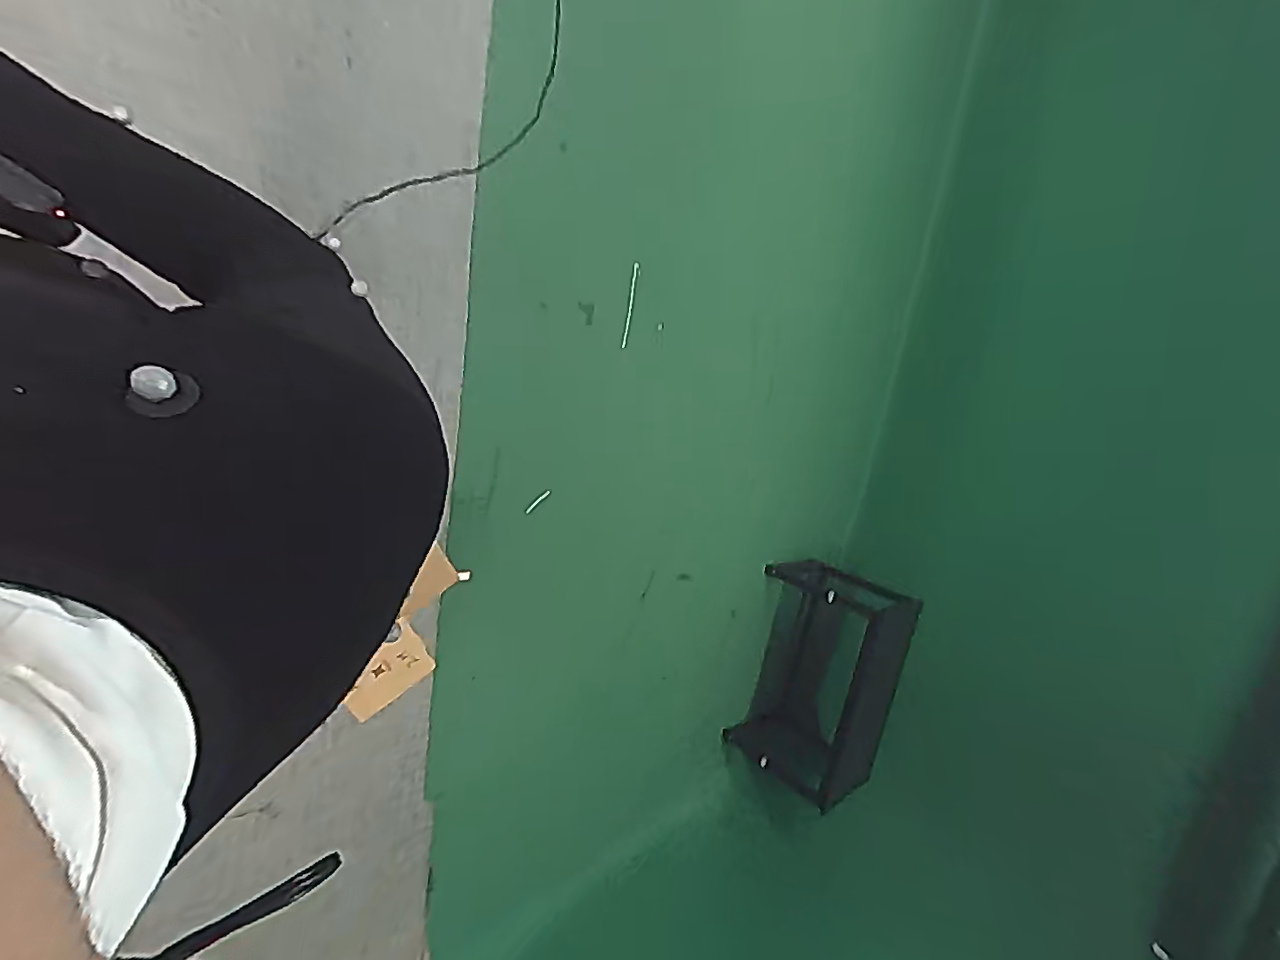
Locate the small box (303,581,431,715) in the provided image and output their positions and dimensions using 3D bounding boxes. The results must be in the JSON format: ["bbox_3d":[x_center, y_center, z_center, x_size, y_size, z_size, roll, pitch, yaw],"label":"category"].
[{"bbox_3d":[-0.586,0.349,1.151,0.179,0.176,0.168,-35,128,-30],"label":"small box"}]
